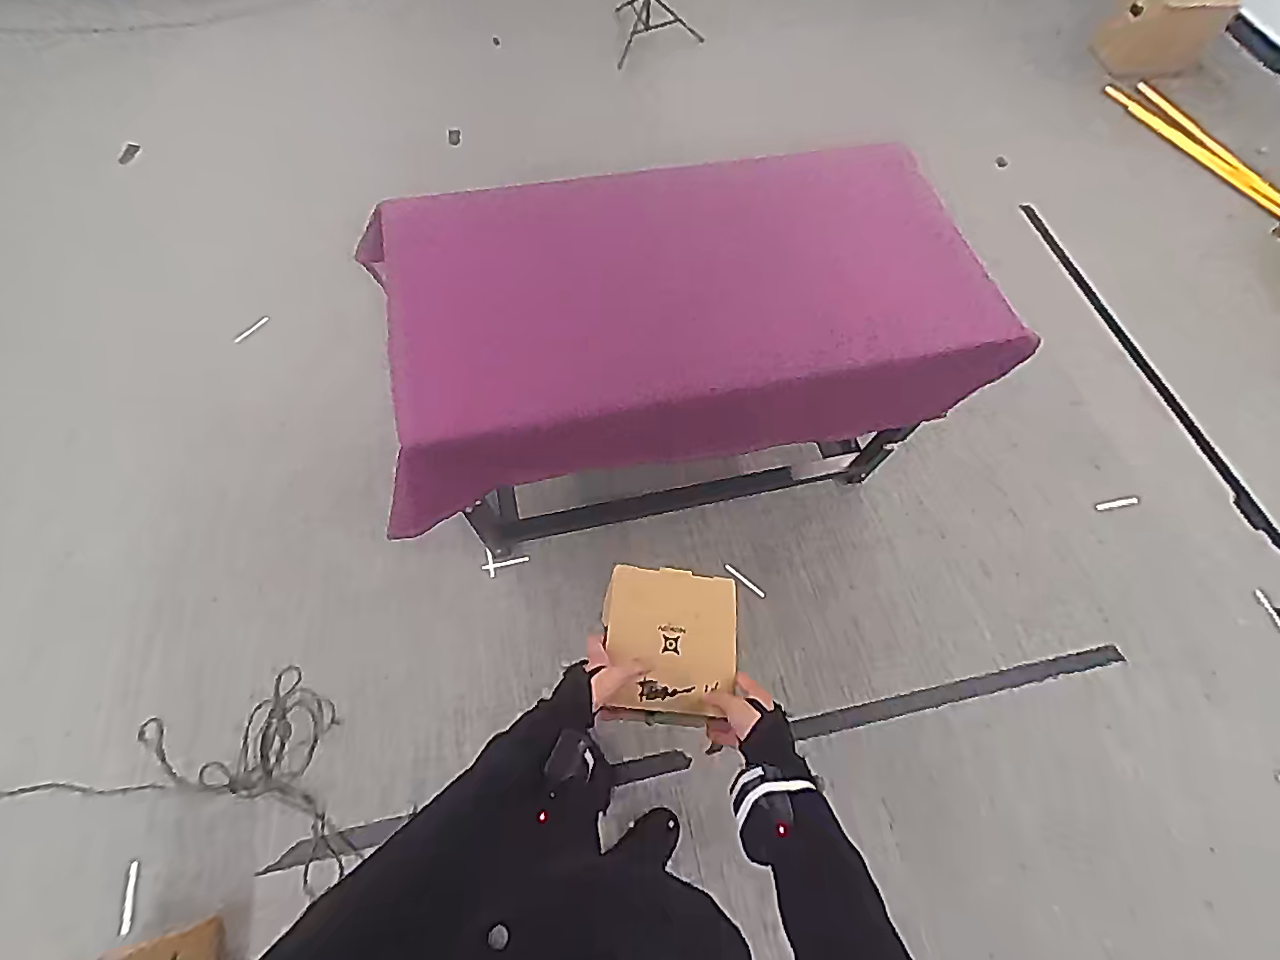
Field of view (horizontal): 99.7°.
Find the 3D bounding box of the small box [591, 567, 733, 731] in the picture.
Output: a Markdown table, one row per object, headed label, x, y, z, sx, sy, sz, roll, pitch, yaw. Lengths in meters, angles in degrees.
| label | x | y | z | sx | sy | sz | roll | pitch | yaw |
| --- | --- | --- | --- | --- | --- | --- | --- | --- | --- |
| small box | 0.025 | 0.236 | 0.738 | 0.168 | 0.176 | 0.179 | 7 | 62 | -4 |
